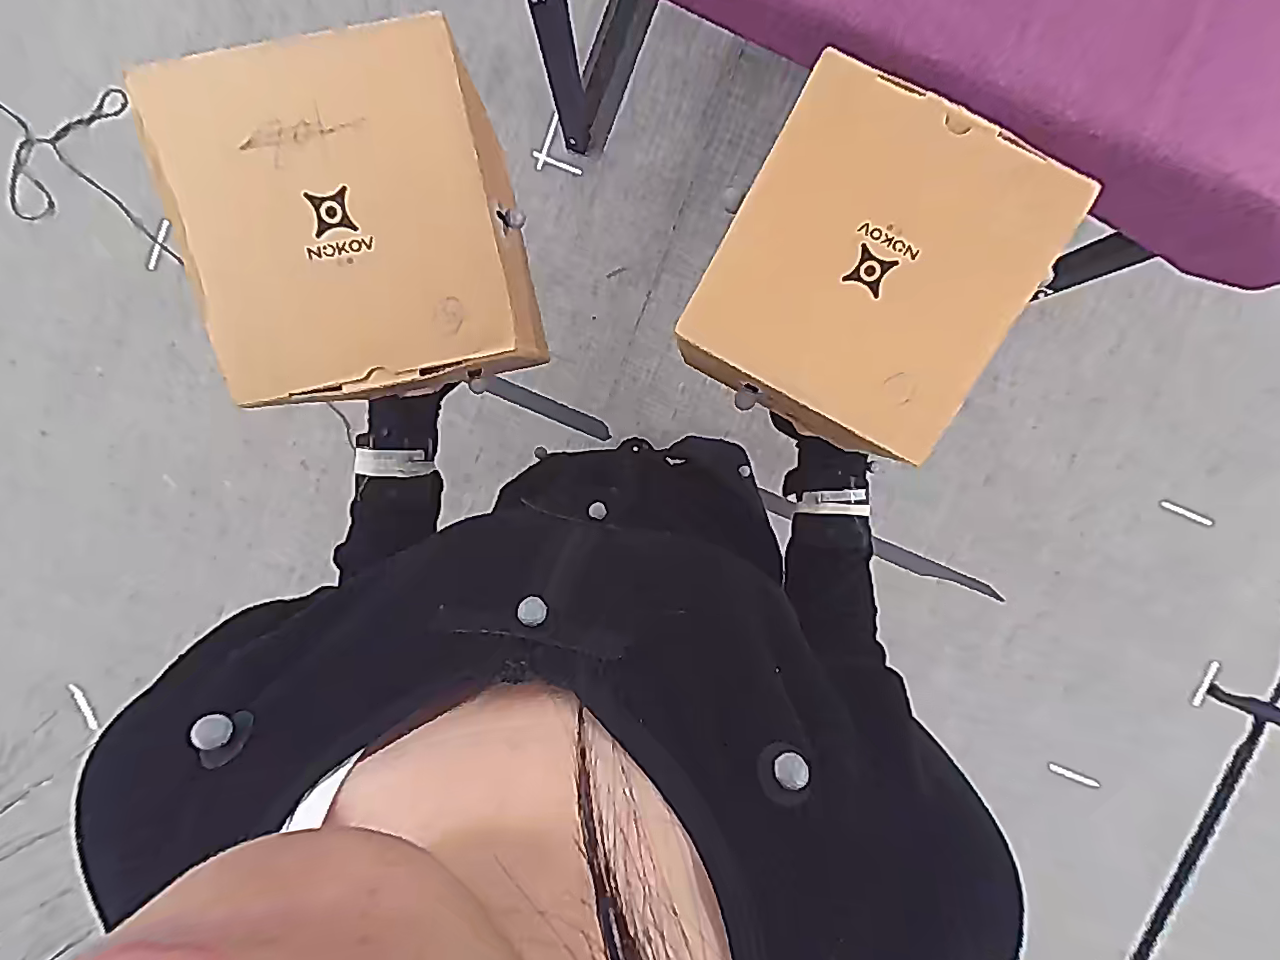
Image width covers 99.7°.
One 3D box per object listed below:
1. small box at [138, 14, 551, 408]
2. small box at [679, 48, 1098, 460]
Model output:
[{"bbox_3d":[-0.163,-0.154,0.370,0.168,0.176,0.179,-12,100,-2],"label":"small box"},{"bbox_3d":[0.144,-0.131,0.382,0.168,0.176,0.179,29,98,3],"label":"small box"}]
